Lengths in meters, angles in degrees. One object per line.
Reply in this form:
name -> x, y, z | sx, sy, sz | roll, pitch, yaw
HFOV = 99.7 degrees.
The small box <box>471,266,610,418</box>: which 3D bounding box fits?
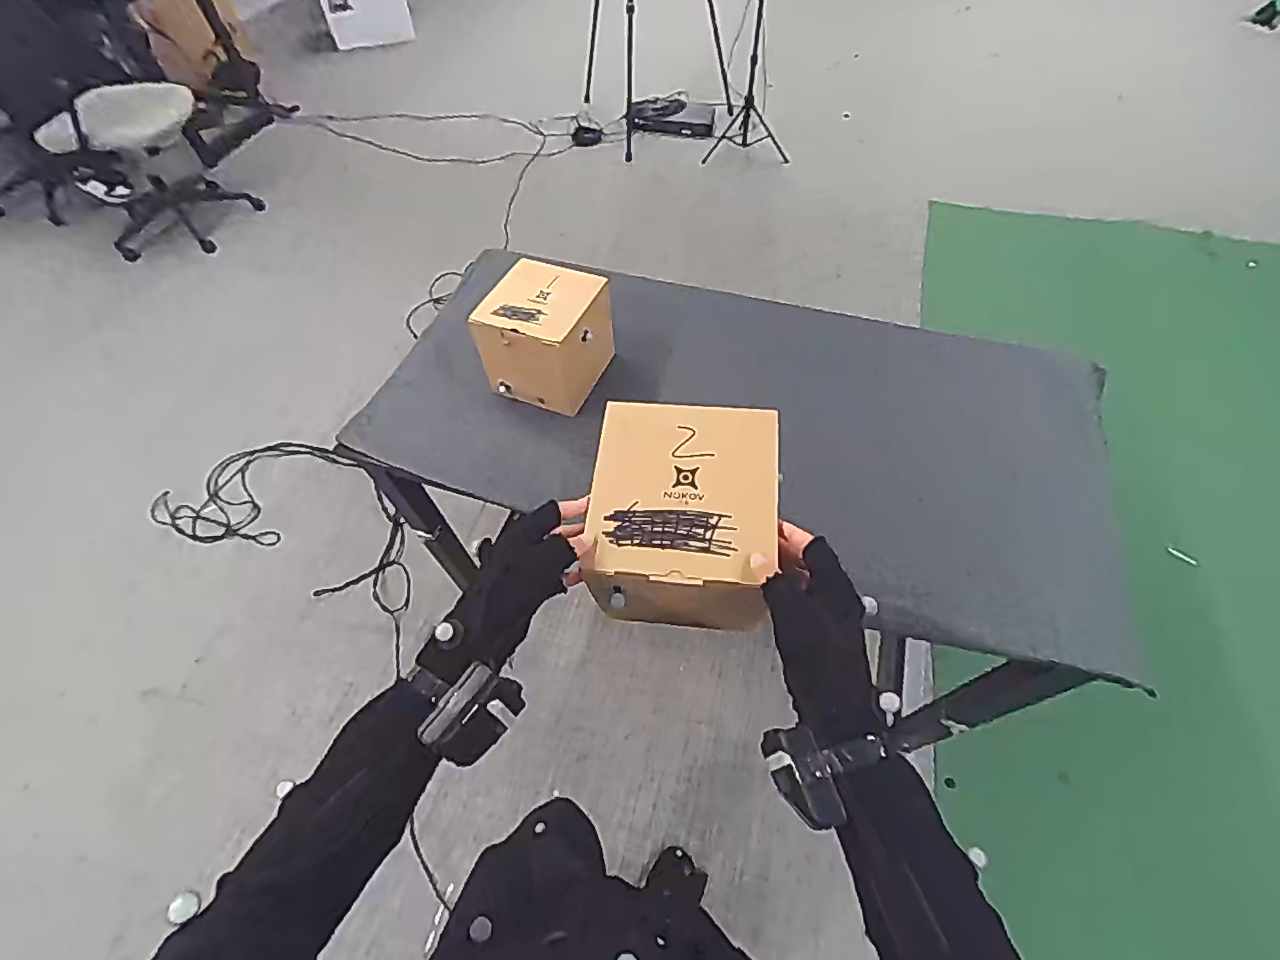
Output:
small box -> -0.159, -0.235, 0.940 | 0.168, 0.176, 0.179 | 19, 57, 14
